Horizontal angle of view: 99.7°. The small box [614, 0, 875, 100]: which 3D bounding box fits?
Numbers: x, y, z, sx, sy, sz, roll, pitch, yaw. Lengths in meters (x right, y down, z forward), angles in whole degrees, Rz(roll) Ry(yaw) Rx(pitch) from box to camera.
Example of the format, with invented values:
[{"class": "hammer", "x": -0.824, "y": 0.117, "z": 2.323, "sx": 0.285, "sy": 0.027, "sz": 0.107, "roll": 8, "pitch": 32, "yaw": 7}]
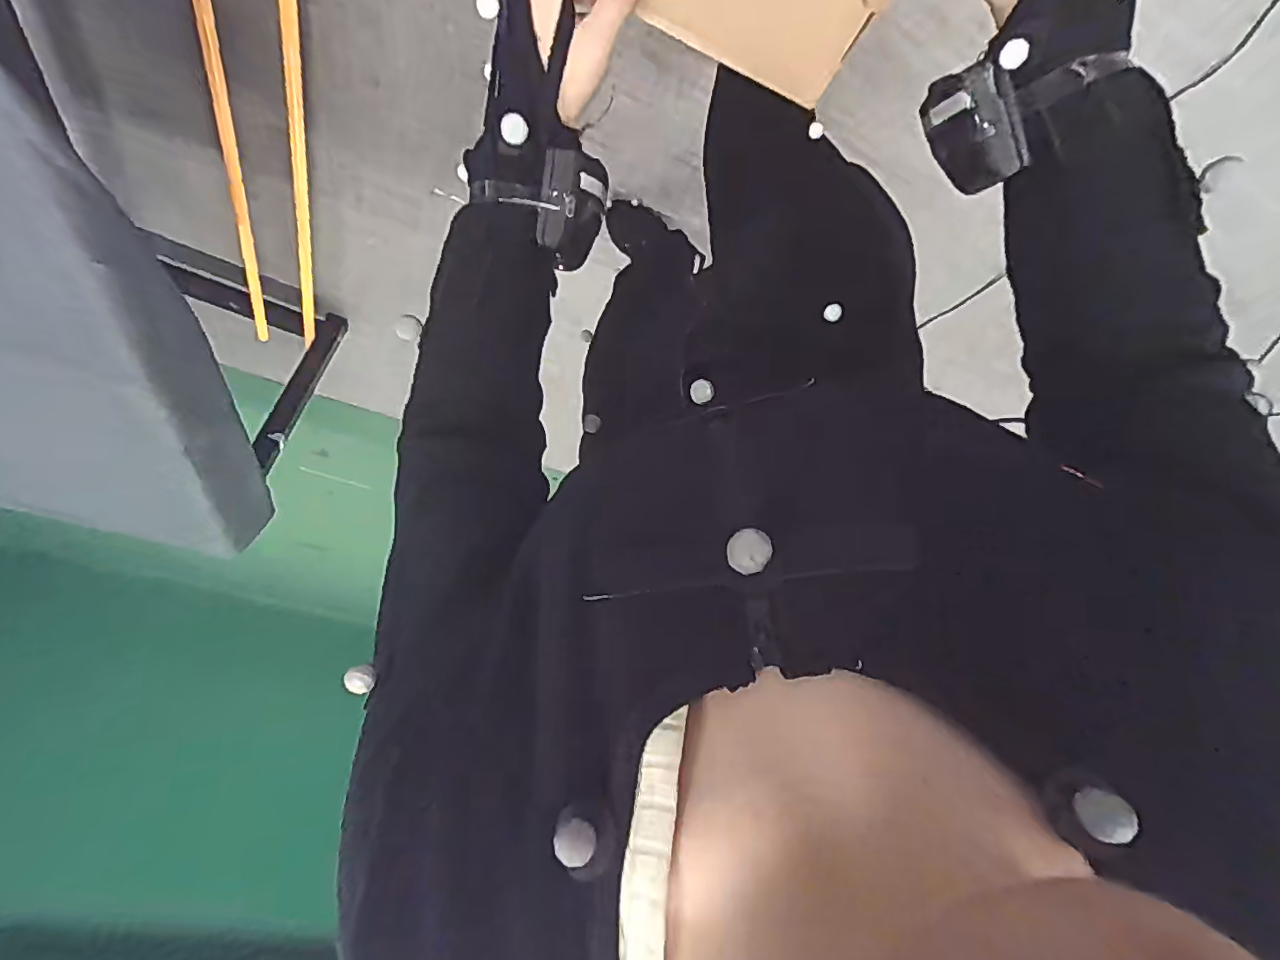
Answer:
[{"class": "small box", "x": 0.072, "y": -0.376, "z": 0.305, "sx": 0.179, "sy": 0.176, "sz": 0.168, "roll": 17, "pitch": 151, "yaw": -15}]
